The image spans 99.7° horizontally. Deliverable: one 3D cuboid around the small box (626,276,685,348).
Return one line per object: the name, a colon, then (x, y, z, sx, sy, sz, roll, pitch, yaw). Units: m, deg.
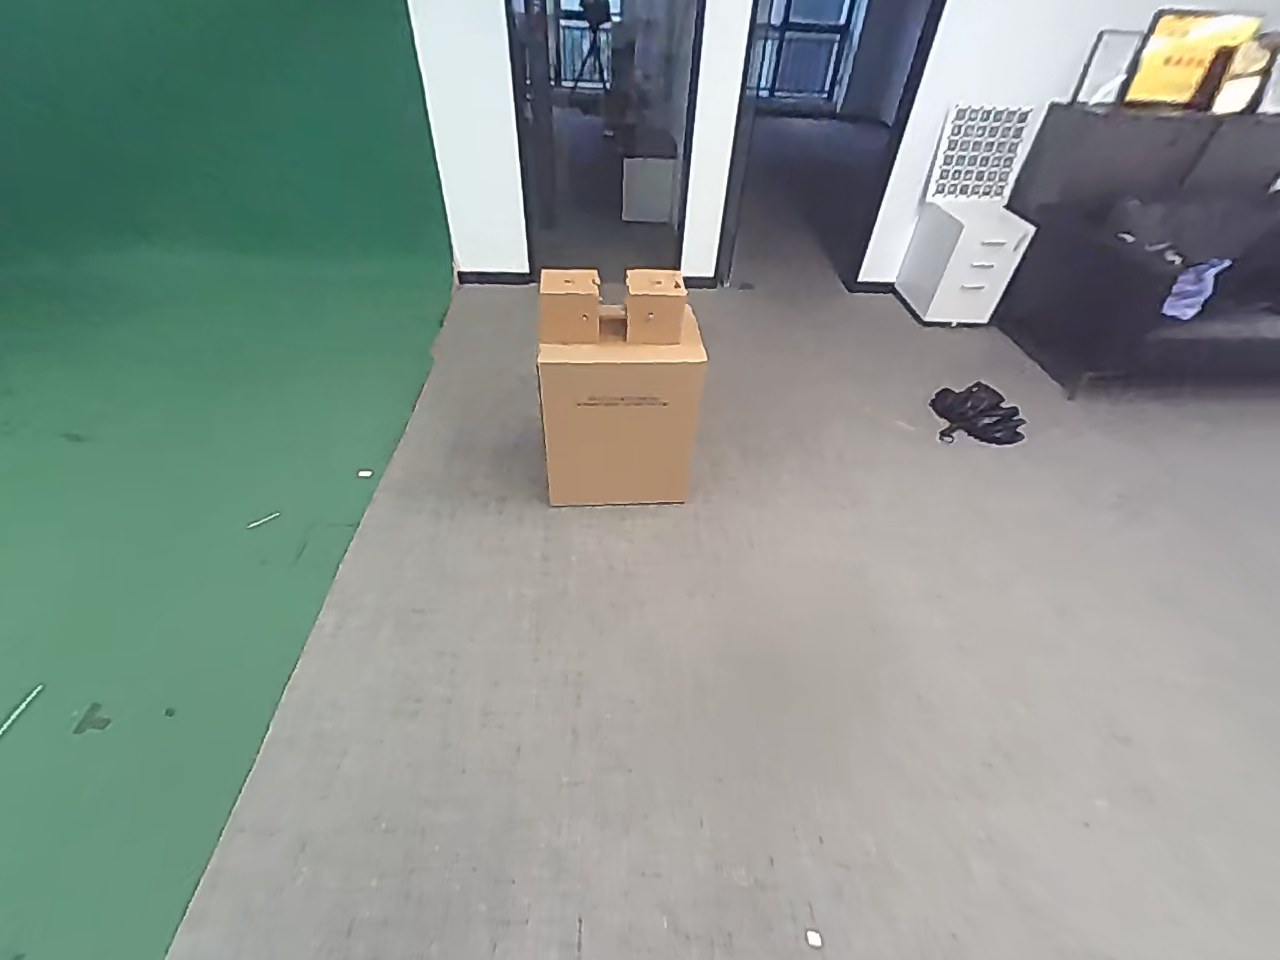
small box: (0.045, -0.538, 1.737, 0.179, 0.176, 0.168, 0, 46, -4)

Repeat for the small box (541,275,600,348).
small box: (-0.216, -0.532, 1.713, 0.179, 0.176, 0.168, -3, 45, -5)
